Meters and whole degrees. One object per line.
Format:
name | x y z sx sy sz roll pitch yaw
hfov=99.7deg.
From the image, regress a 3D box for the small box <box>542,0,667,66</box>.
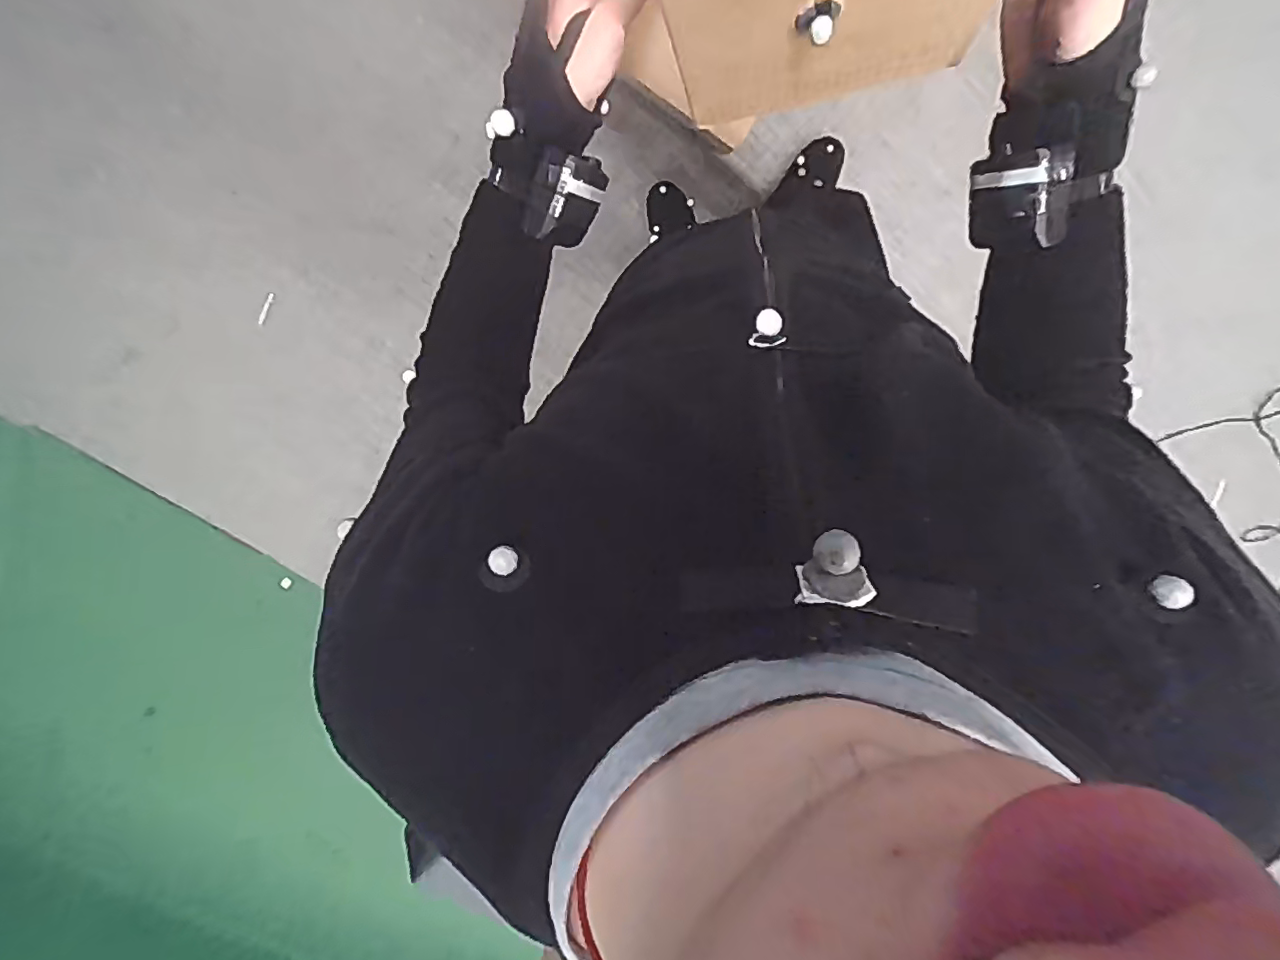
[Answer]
small box | -0.047 -0.781 0.827 0.168 0.176 0.179 32 122 -11
